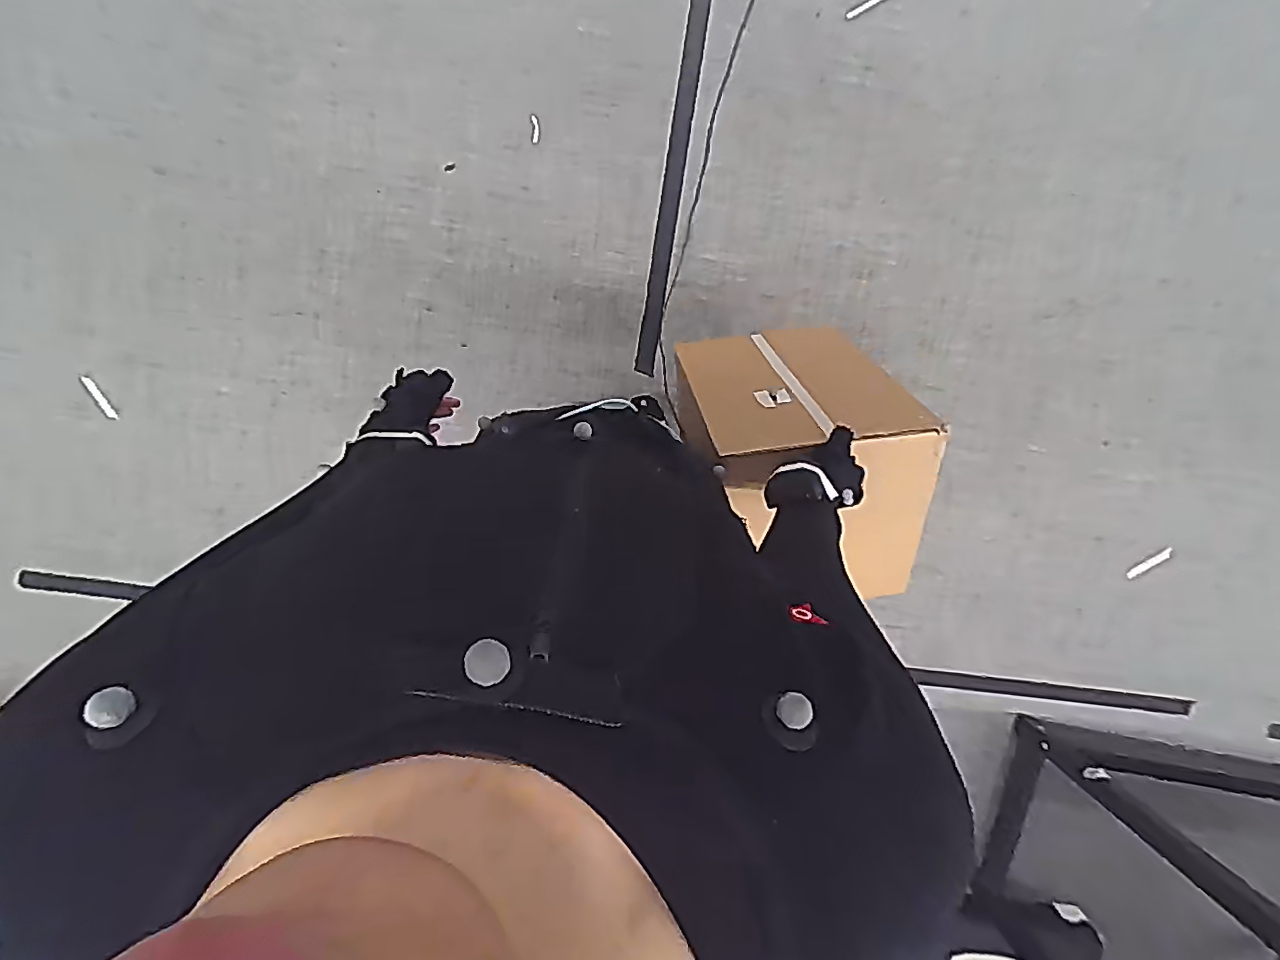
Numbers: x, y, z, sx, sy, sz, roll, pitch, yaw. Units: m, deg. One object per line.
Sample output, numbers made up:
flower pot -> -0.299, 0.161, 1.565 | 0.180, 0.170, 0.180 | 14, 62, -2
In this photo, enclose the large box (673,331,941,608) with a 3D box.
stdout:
large box -> 0.248, -0.038, 0.972 | 0.320, 0.408, 0.320 | -8, 126, -2
